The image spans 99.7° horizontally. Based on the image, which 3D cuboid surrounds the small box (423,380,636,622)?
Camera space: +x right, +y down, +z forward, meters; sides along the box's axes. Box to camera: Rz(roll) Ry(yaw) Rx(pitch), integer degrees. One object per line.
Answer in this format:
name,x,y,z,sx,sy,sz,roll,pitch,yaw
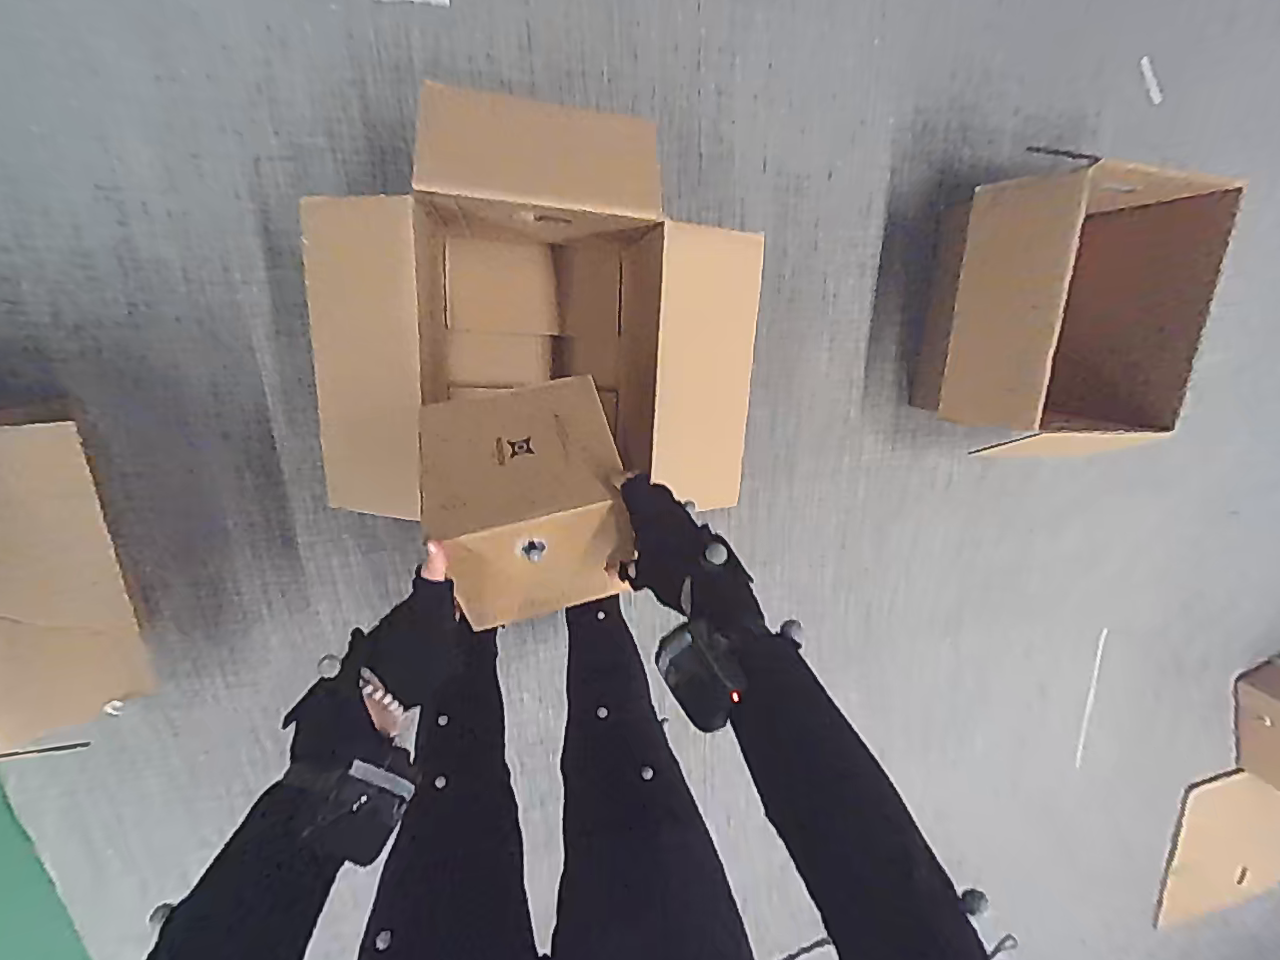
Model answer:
small box,-0.107,0.026,0.560,0.179,0.168,0.176,-13,142,-8
